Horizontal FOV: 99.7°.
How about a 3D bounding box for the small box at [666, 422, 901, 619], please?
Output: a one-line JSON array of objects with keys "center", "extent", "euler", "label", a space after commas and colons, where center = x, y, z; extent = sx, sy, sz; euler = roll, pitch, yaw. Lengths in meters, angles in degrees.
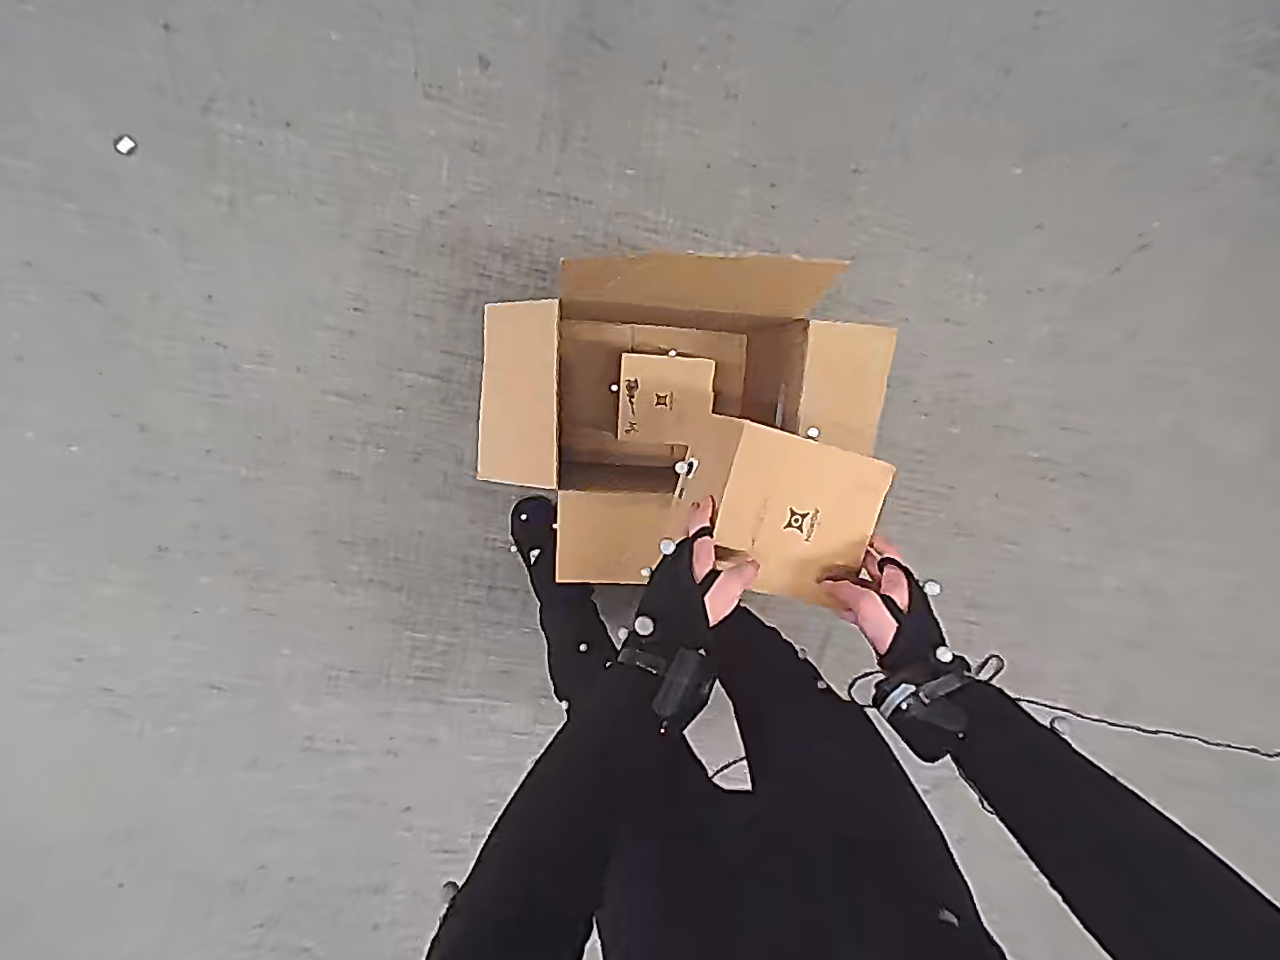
[{"center": [0.149, 0.035, 0.620], "extent": [0.179, 0.176, 0.168], "euler": [17, 94, -12], "label": "small box"}]
